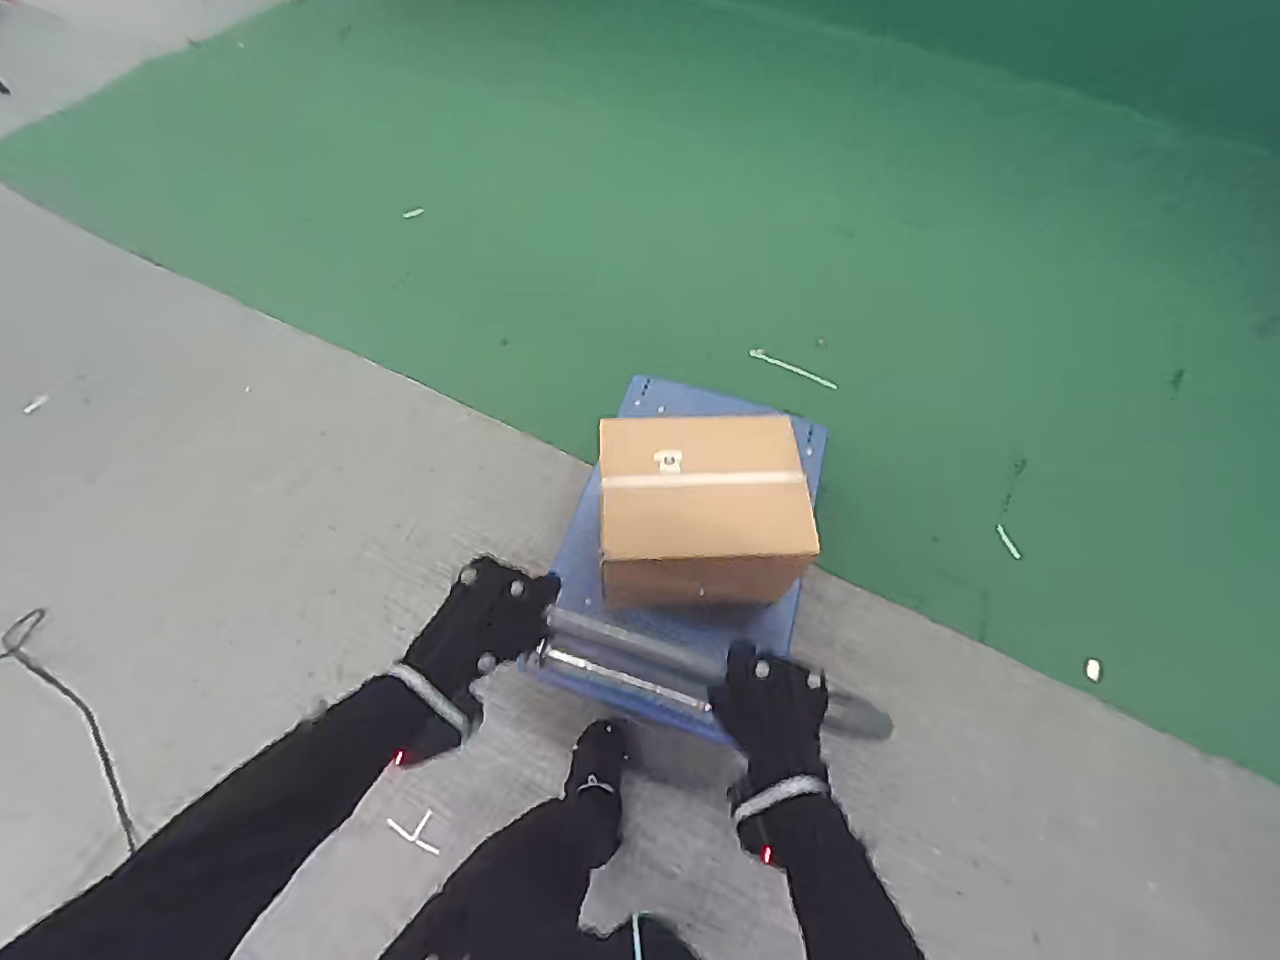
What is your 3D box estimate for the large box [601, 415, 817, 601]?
[{"bbox_3d":[0.123,0.073,1.198,0.408,0.320,0.320,-1,60,-3],"label":"large box"}]
